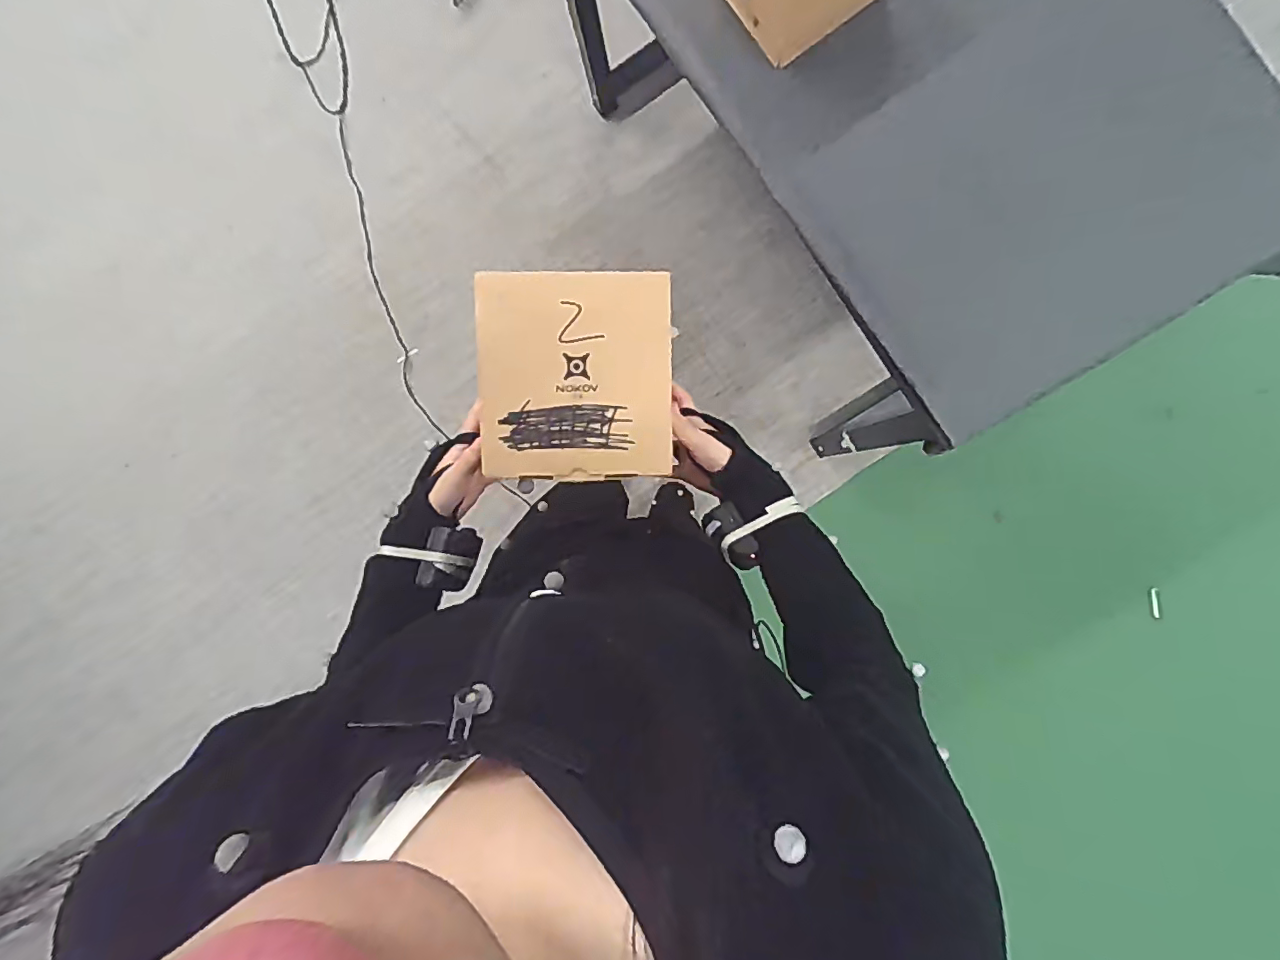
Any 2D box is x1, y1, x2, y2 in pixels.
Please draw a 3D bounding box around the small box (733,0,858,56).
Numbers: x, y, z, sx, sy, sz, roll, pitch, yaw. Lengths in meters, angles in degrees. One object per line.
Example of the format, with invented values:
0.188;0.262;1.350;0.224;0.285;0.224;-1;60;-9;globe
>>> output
0.208;-0.691;0.662;0.179;0.176;0.168;-34;89;4;small box
